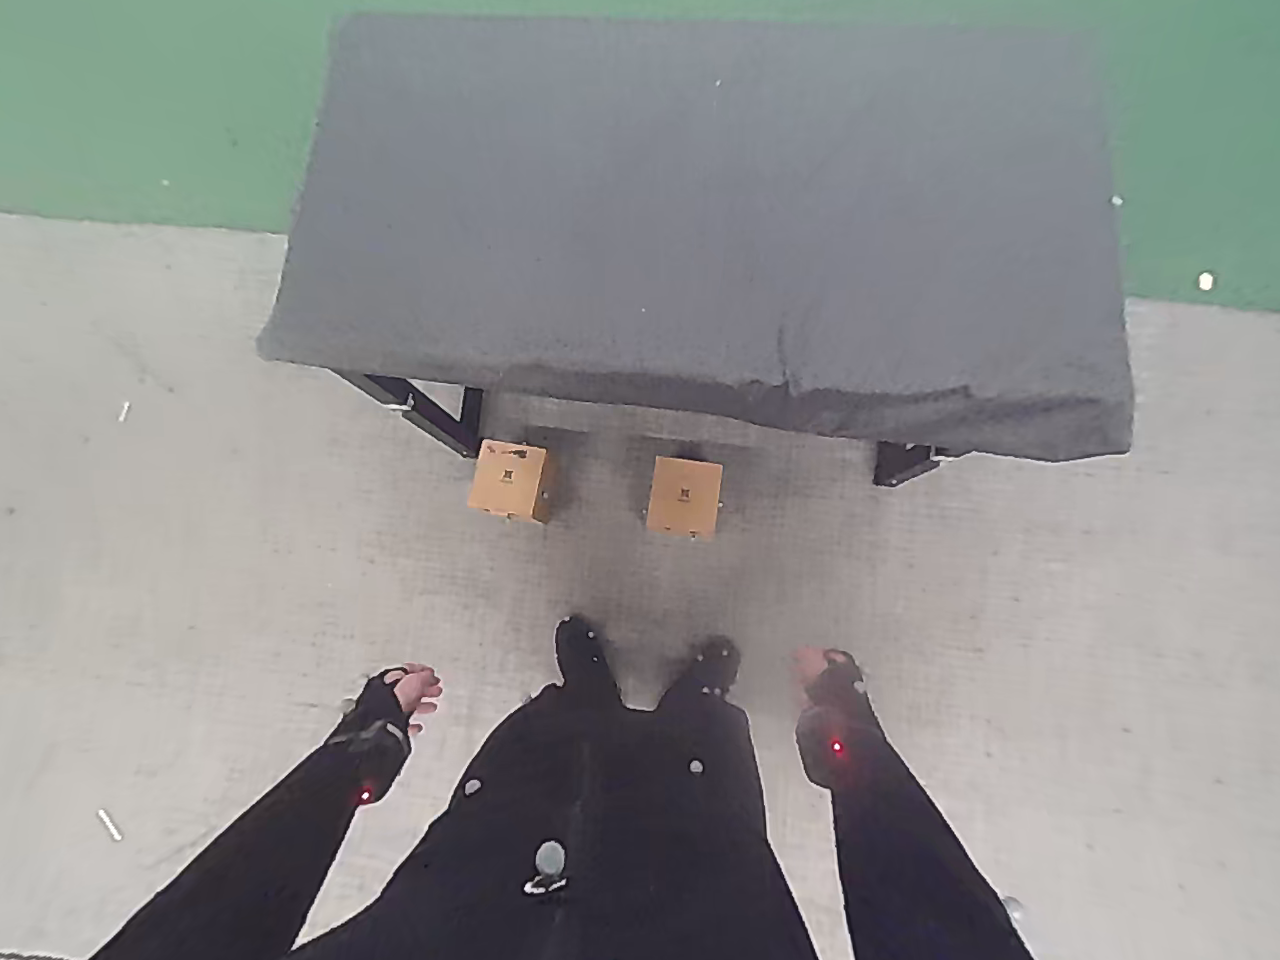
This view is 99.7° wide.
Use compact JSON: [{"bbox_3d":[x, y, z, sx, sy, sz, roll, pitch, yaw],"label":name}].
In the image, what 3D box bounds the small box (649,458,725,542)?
[{"bbox_3d":[0.119,0.058,1.376,0.168,0.176,0.179,8,77,4],"label":"small box"}]
